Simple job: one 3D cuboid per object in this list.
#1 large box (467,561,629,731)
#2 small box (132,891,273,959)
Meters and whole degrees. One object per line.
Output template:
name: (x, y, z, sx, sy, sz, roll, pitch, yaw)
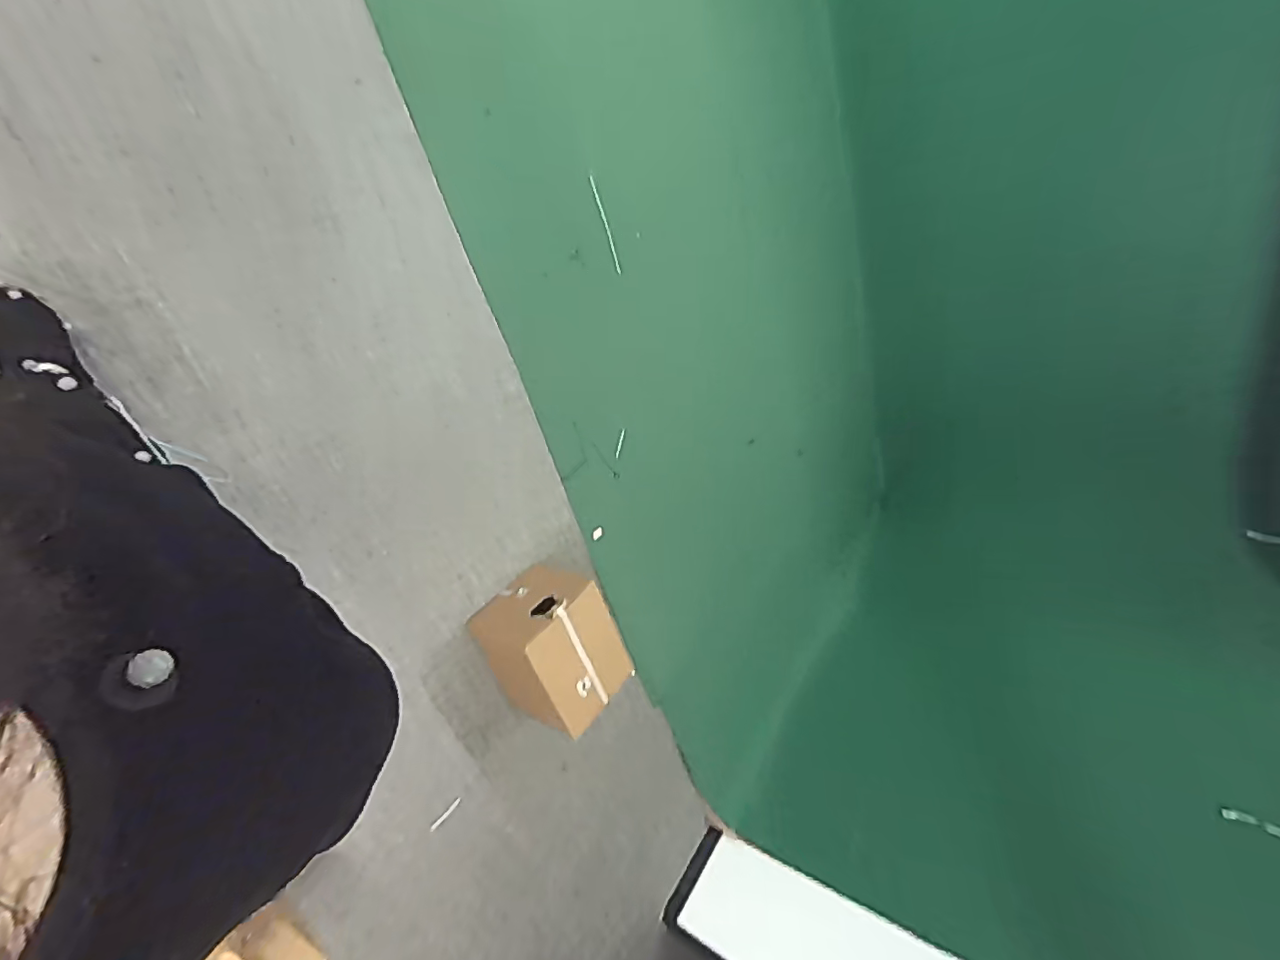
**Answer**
large box: (-0.297, 0.535, 1.796, 0.320, 0.320, 0.408, -42, 124, -39)
small box: (-0.760, 0.869, 0.926, 0.179, 0.176, 0.168, -44, 124, -41)
